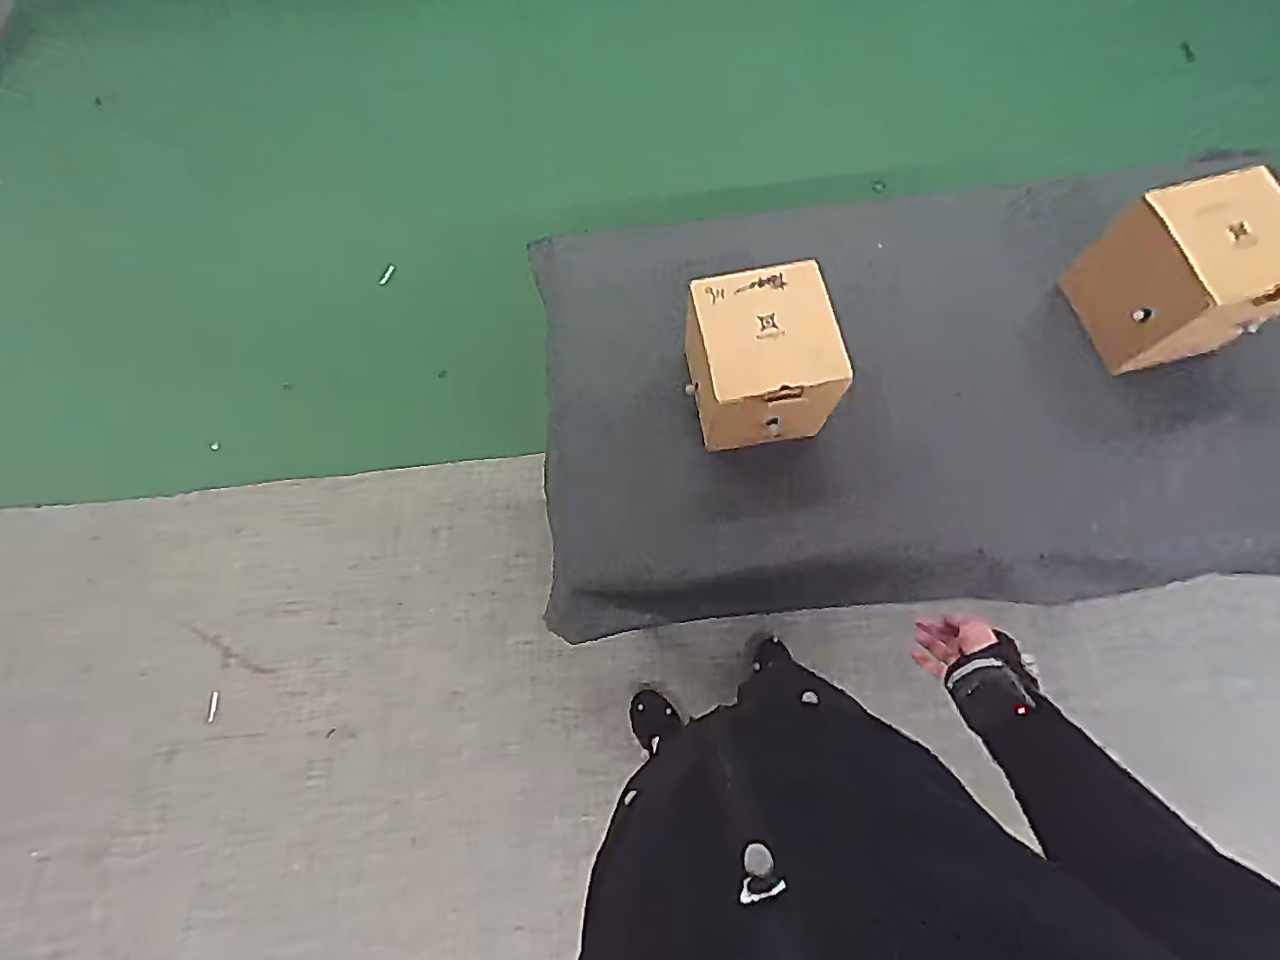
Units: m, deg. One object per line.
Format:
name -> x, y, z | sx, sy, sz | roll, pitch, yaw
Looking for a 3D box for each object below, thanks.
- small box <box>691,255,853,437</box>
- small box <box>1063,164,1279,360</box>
small box -> 0.166, -0.169, 0.739 | 0.168, 0.176, 0.179 | -9, 73, 0
small box -> 0.745, -0.283, 0.740 | 0.168, 0.176, 0.179 | -13, 71, -2
